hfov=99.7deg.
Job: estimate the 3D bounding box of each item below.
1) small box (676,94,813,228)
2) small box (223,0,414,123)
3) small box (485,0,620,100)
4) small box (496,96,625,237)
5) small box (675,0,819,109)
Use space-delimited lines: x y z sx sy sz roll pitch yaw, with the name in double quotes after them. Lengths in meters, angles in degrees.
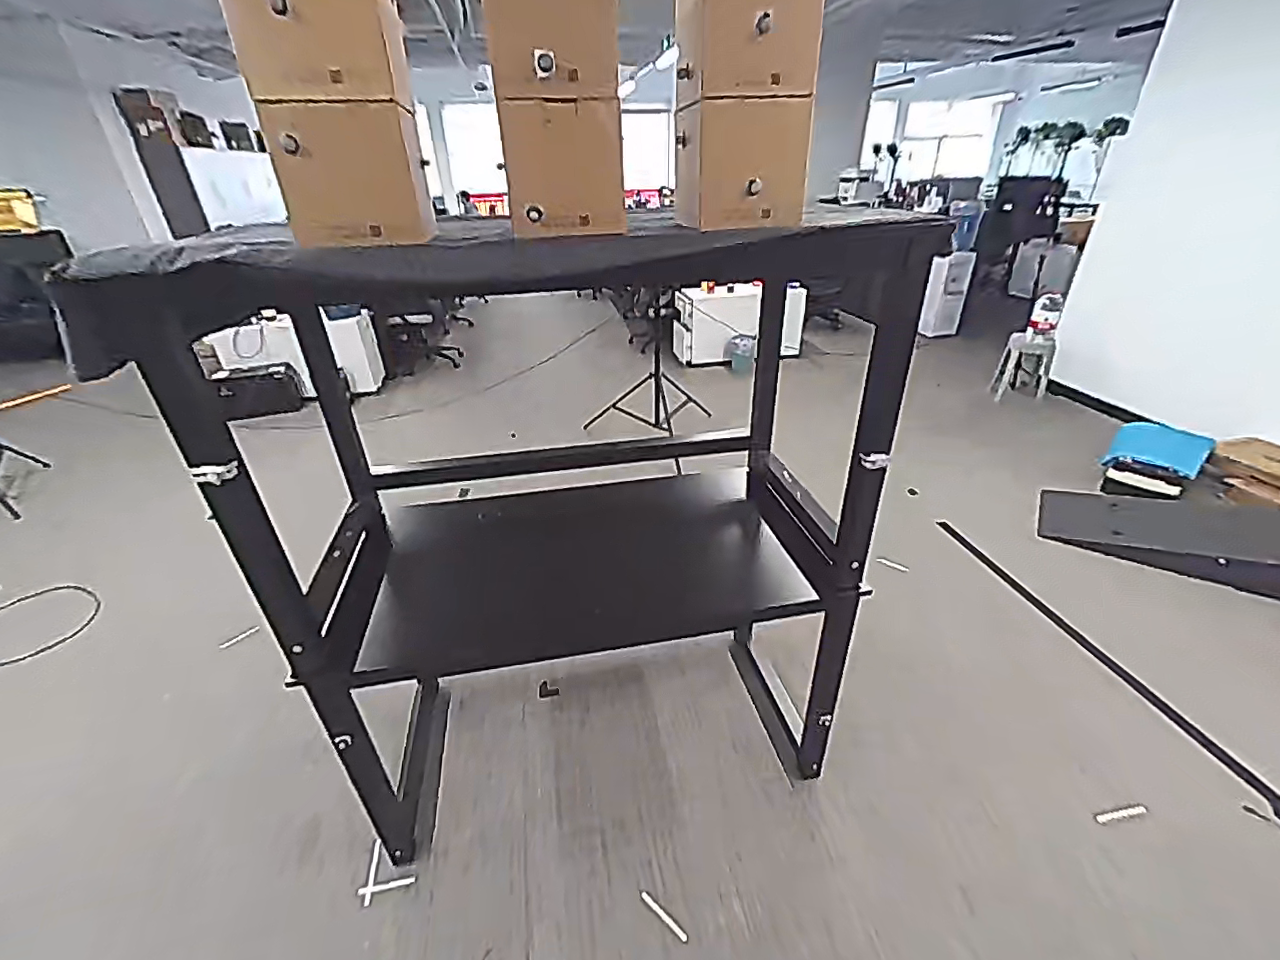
0.153 -0.498 0.859 0.168 0.176 0.179 -7 29 -7 "small box"
-0.403 -0.571 0.694 0.168 0.176 0.179 -7 28 -9 "small box"
-0.121 -0.609 0.743 0.168 0.176 0.179 -7 29 -7 "small box"
-0.117 -0.465 0.818 0.168 0.176 0.179 -7 28 -8 "small box"
0.148 -0.642 0.780 0.168 0.176 0.179 -6 30 -7 "small box"
